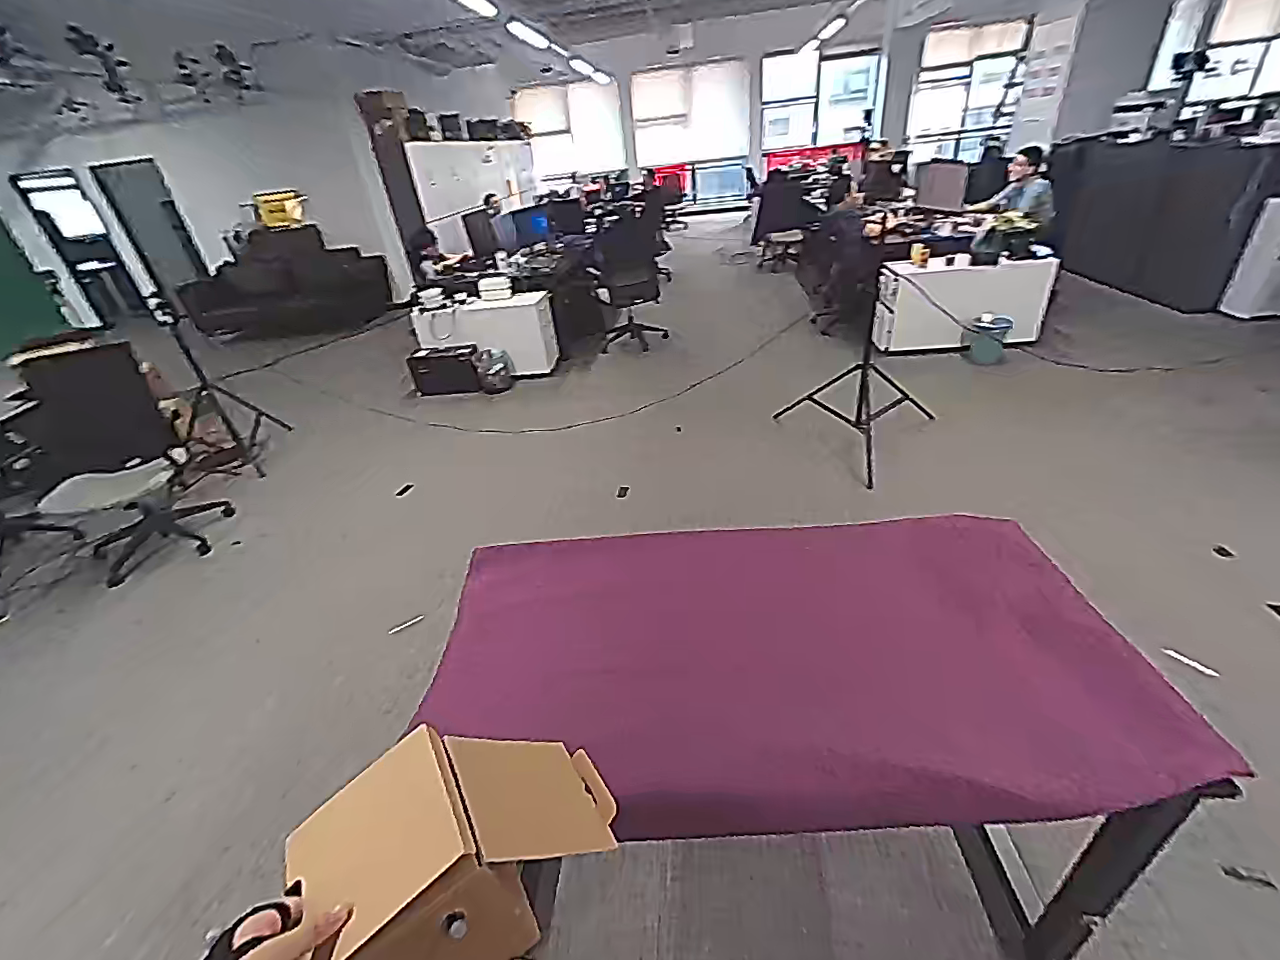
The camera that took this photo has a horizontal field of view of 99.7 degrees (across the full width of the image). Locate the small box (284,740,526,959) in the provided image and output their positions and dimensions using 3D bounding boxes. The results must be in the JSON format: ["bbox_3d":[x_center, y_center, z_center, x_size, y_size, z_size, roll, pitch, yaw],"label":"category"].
[{"bbox_3d":[-0.237,0.427,0.567,0.179,0.176,0.168,-29,32,-21],"label":"small box"}]
